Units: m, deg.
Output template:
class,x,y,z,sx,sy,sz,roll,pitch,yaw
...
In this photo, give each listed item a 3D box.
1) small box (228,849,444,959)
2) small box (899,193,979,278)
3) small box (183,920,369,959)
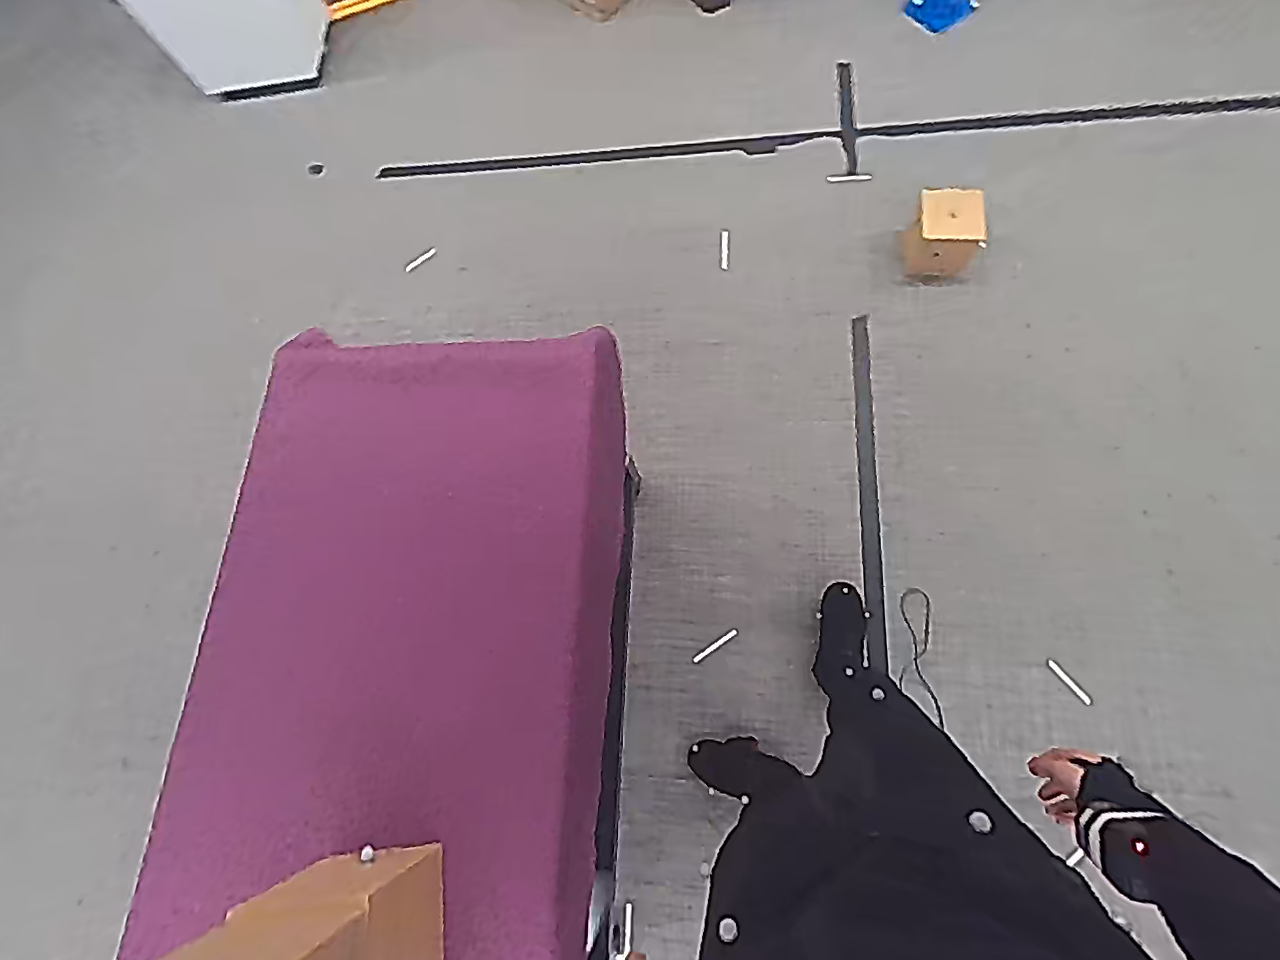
class,x,y,z,sx,sy,sz,roll,pitch,yaw
small box,-0.342,0.563,0.626,0.168,0.176,0.179,-10,71,4
small box,0.898,-0.735,1.636,0.168,0.176,0.179,4,73,8
small box,-0.368,0.523,0.469,0.179,0.176,0.168,-11,72,4
